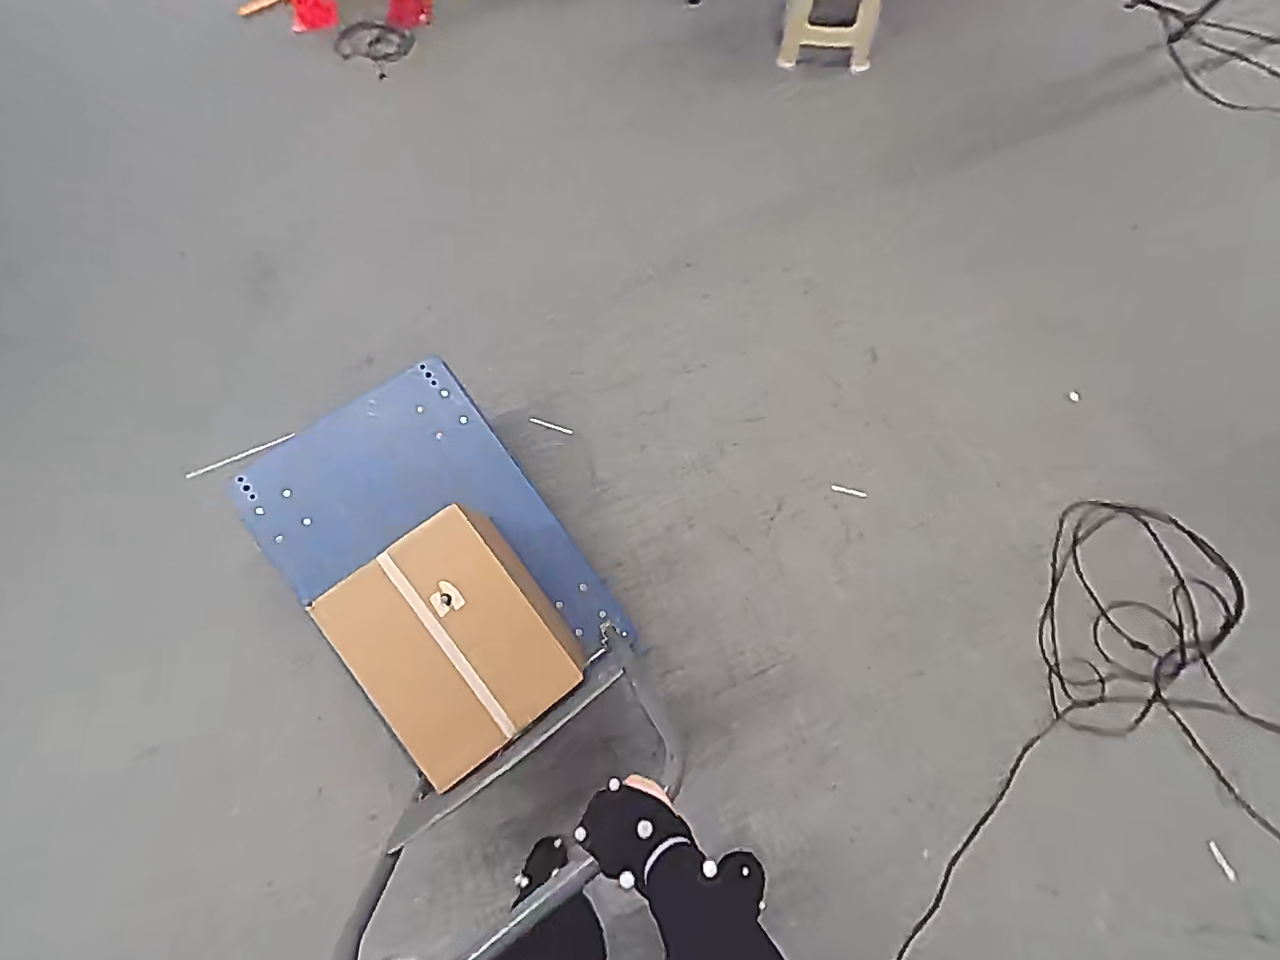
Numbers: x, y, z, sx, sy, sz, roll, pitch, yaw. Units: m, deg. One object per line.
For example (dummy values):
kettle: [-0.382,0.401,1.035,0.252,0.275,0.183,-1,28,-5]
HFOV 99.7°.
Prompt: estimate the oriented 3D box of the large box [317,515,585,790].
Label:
large box: [-0.355,0.329,1.133,0.320,0.320,0.408,-37,87,-10]
